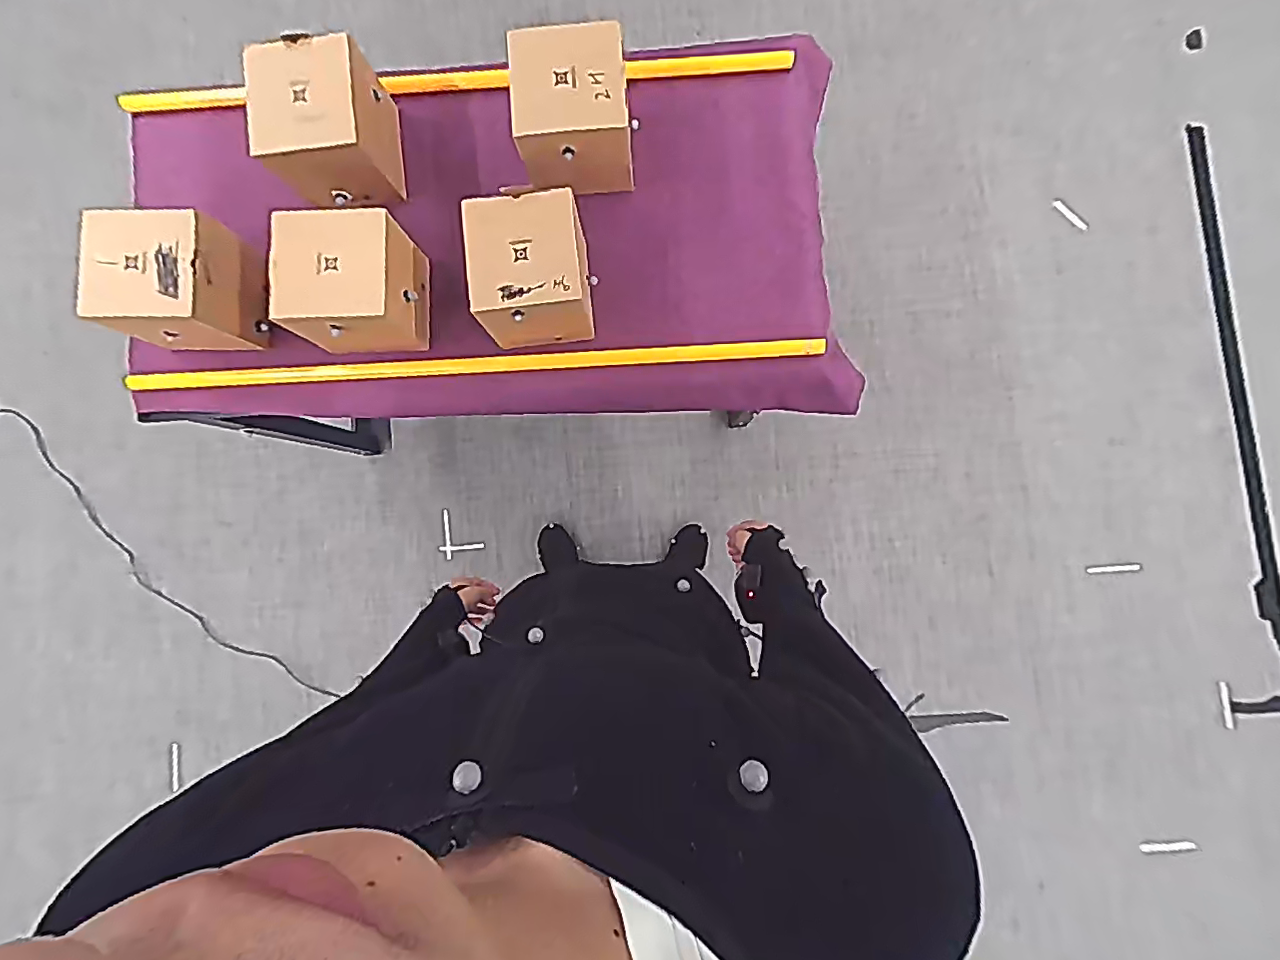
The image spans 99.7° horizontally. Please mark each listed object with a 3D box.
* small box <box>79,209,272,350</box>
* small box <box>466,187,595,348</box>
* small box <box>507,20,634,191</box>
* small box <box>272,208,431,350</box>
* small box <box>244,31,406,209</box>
[{"bbox_3d":[-0.736,-0.315,0.877,0.179,0.176,0.168,1,87,1],"label":"small box"},{"bbox_3d":[-0.167,-0.330,0.866,0.168,0.176,0.179,-6,84,1],"label":"small box"},{"bbox_3d":[-0.105,-0.592,0.880,0.179,0.176,0.168,-4,88,1],"label":"small box"},{"bbox_3d":[-0.453,-0.314,0.873,0.179,0.176,0.168,-2,86,2],"label":"small box"},{"bbox_3d":[-0.506,-0.579,0.889,0.168,0.176,0.179,-6,88,2],"label":"small box"}]
